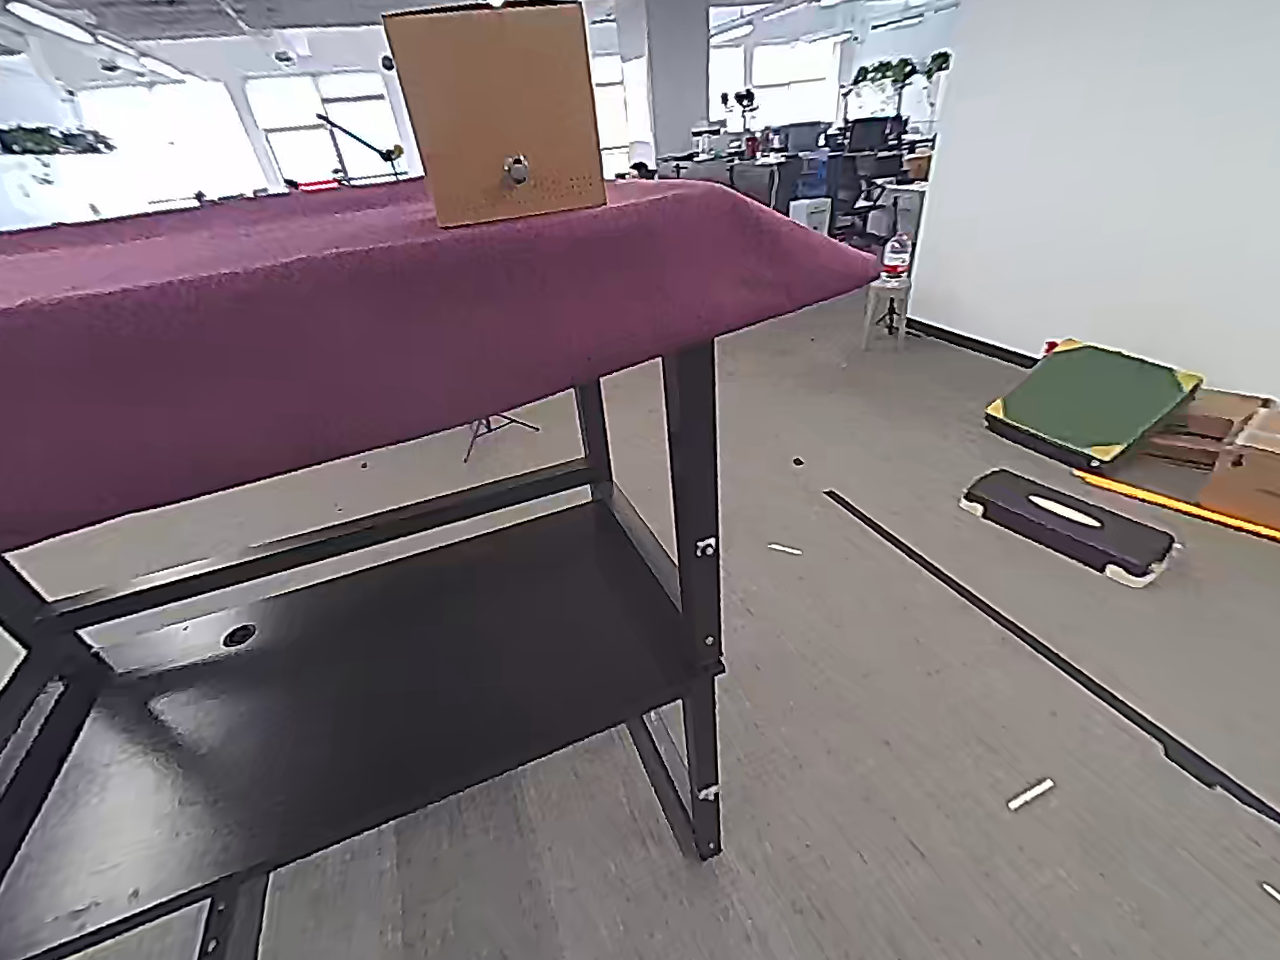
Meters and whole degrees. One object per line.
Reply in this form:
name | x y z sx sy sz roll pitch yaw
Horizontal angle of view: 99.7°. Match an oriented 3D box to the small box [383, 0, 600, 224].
small box | -0.145 -0.380 0.570 0.179 0.176 0.168 -14 33 -11
